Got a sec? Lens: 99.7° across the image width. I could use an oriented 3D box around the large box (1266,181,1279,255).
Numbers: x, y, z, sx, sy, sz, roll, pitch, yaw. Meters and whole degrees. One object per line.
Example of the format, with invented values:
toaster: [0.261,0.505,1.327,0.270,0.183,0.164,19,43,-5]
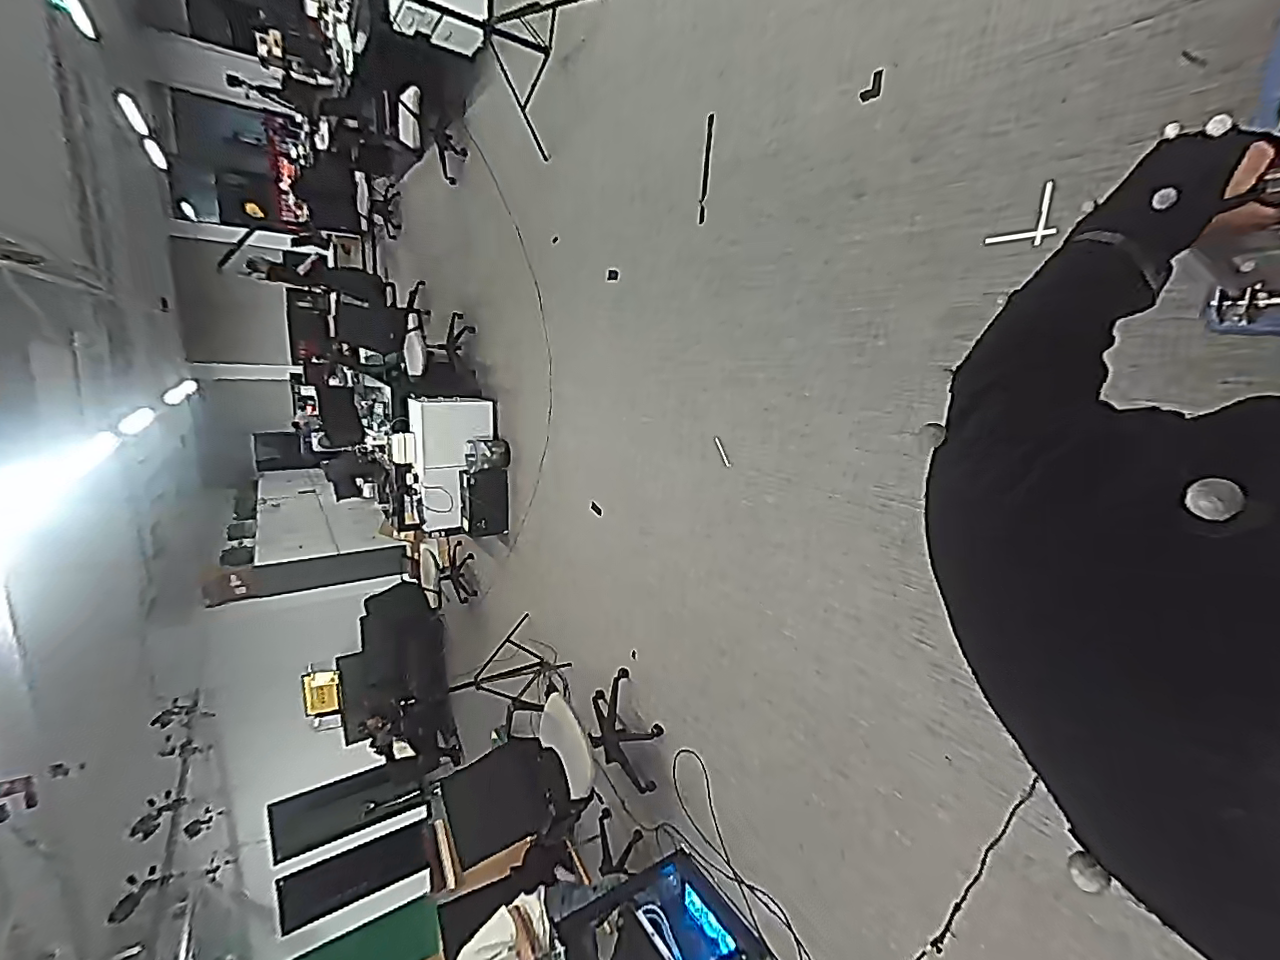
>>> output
large box: [1.025,-0.420,0.577,0.408,0.320,0.320,20,112,52]
